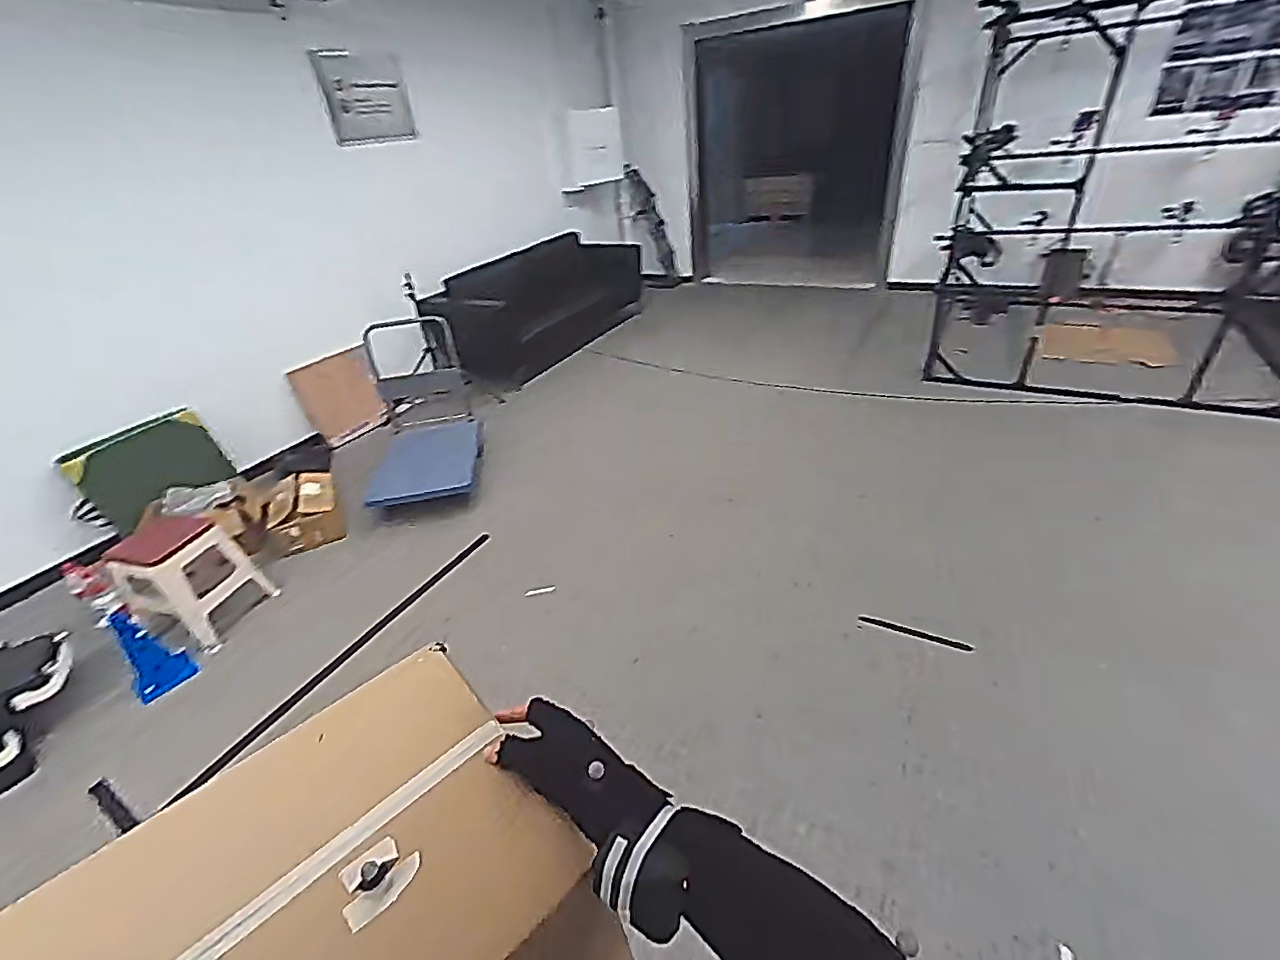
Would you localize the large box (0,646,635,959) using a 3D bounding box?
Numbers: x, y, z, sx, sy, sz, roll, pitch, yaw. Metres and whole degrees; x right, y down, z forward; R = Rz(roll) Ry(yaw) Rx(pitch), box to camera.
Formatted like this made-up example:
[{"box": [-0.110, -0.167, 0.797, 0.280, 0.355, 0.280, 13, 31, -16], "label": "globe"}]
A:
[{"box": [-0.259, 0.456, 0.518, 0.408, 0.320, 0.320, -29, 40, -31], "label": "large box"}]
